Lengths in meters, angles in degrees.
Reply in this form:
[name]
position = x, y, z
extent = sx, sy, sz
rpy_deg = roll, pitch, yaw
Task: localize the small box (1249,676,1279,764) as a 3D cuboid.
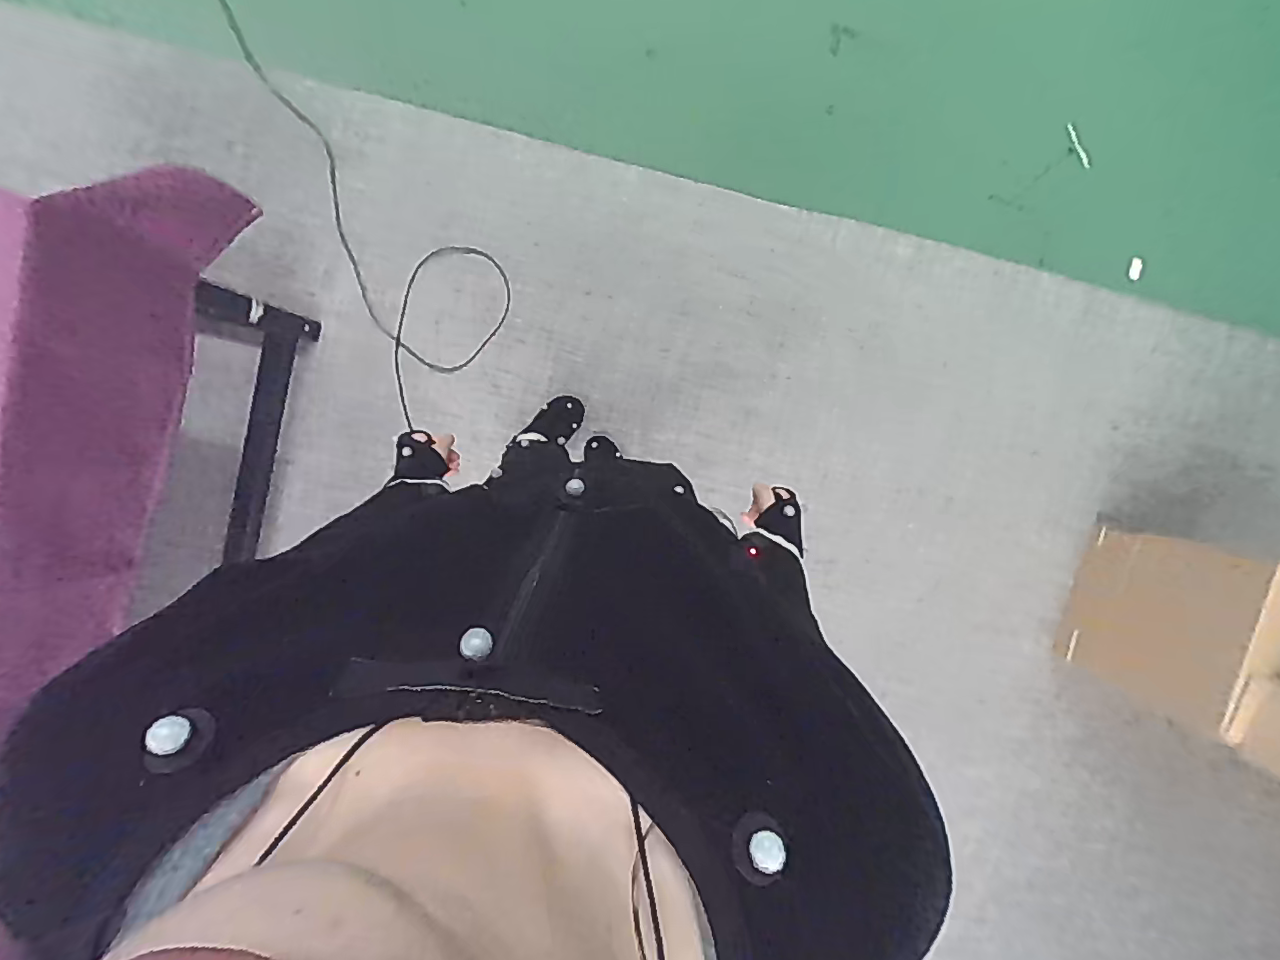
[small box]
position = 1.381, 0.513, 1.062
extent = 0.168, 0.176, 0.179
rpy_deg = 17, 94, -1
